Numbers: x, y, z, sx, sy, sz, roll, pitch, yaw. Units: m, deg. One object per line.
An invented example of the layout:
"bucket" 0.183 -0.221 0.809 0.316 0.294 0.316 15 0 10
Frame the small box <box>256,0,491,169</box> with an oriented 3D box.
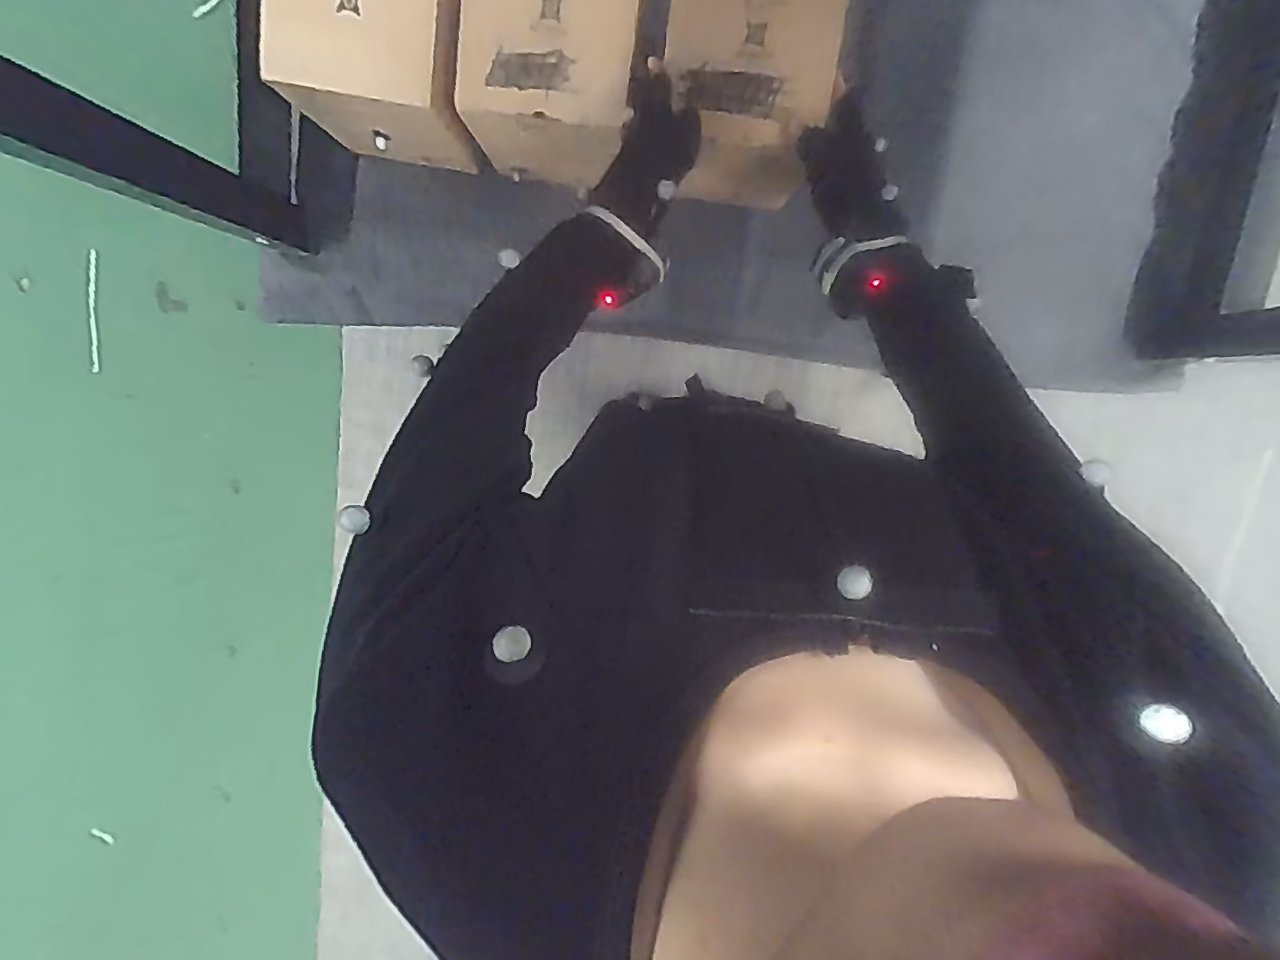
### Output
"small box" -0.267 -0.462 0.575 0.168 0.176 0.179 9 100 -2
